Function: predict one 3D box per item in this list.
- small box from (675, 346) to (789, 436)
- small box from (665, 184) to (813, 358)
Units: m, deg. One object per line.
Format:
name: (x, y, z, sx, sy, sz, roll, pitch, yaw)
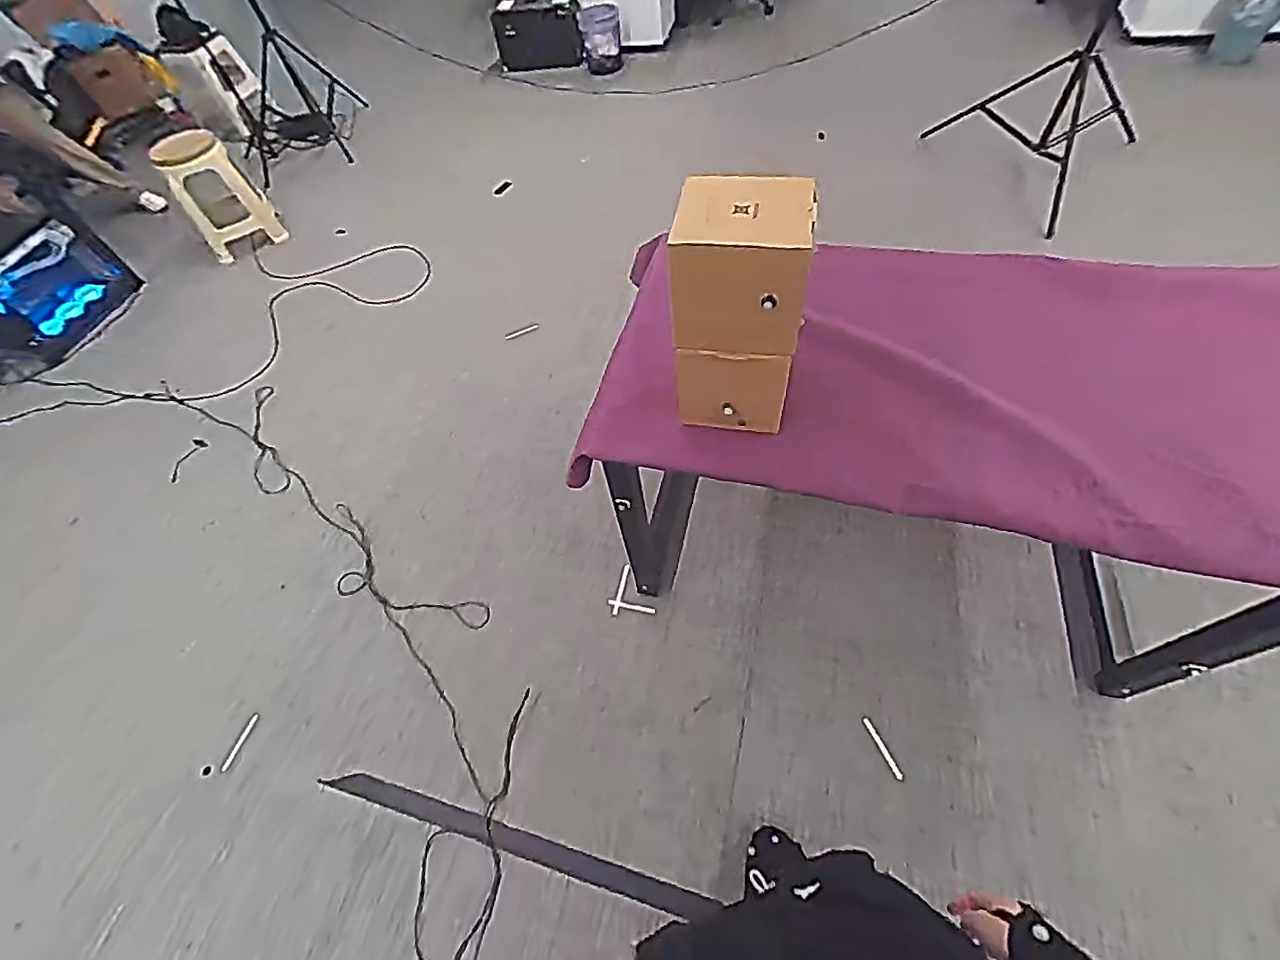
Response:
small box: (0.156, -0.198, 0.894, 0.168, 0.176, 0.179, 7, 58, 12)
small box: (0.139, -0.289, 0.761, 0.179, 0.176, 0.168, 6, 55, 12)
